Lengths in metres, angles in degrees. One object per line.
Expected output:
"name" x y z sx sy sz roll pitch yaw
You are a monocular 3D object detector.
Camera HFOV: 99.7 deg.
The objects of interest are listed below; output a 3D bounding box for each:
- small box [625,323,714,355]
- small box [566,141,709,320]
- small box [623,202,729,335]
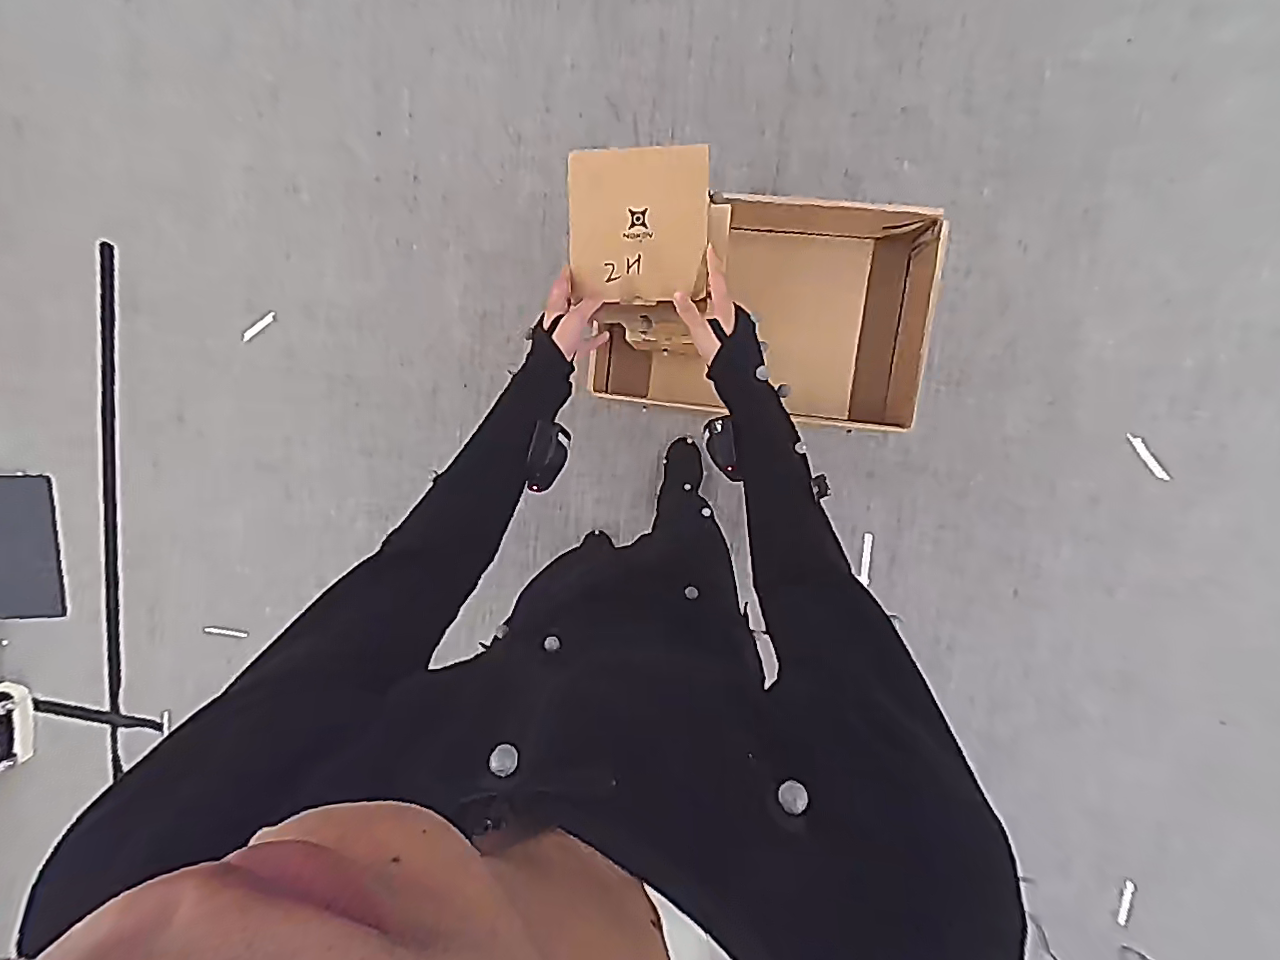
"small box" 0.069 -0.350 1.065 0.168 0.176 0.179 6 98 6
"small box" 0.002 -0.309 0.704 0.168 0.176 0.179 1 100 6
"small box" 0.055 -0.344 0.901 0.168 0.176 0.179 6 97 5
